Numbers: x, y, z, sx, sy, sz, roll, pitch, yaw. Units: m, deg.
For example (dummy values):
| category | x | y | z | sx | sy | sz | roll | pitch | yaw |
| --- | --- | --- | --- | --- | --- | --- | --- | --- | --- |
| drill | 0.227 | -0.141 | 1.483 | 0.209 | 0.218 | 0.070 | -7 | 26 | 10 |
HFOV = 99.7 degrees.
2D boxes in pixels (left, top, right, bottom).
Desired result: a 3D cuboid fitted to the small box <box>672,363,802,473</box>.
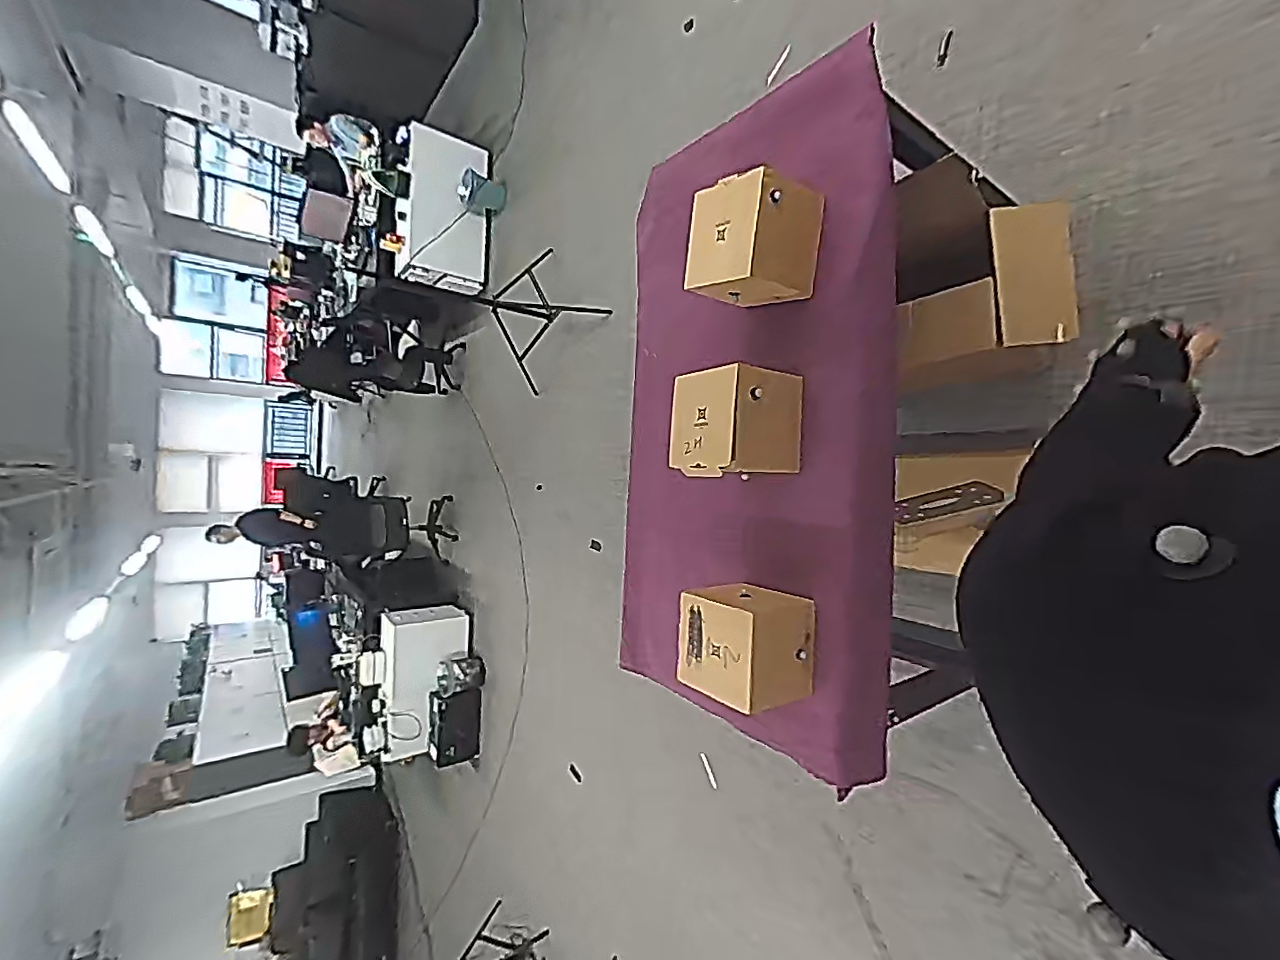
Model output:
| category | x | y | z | sx | sy | sz | roll | pitch | yaw |
| --- | --- | --- | --- | --- | --- | --- | --- | --- | --- |
| small box | 0.178 | -0.104 | 0.991 | 0.168 | 0.176 | 0.179 | 2 | 90 | 56 |

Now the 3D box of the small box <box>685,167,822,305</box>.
| category | x | y | z | sx | sy | sz | roll | pitch | yaw |
| --- | --- | --- | --- | --- | --- | --- | --- | --- | --- |
| small box | 0.204 | -0.421 | 0.971 | 0.168 | 0.176 | 0.179 | 14 | 99 | 53 |
